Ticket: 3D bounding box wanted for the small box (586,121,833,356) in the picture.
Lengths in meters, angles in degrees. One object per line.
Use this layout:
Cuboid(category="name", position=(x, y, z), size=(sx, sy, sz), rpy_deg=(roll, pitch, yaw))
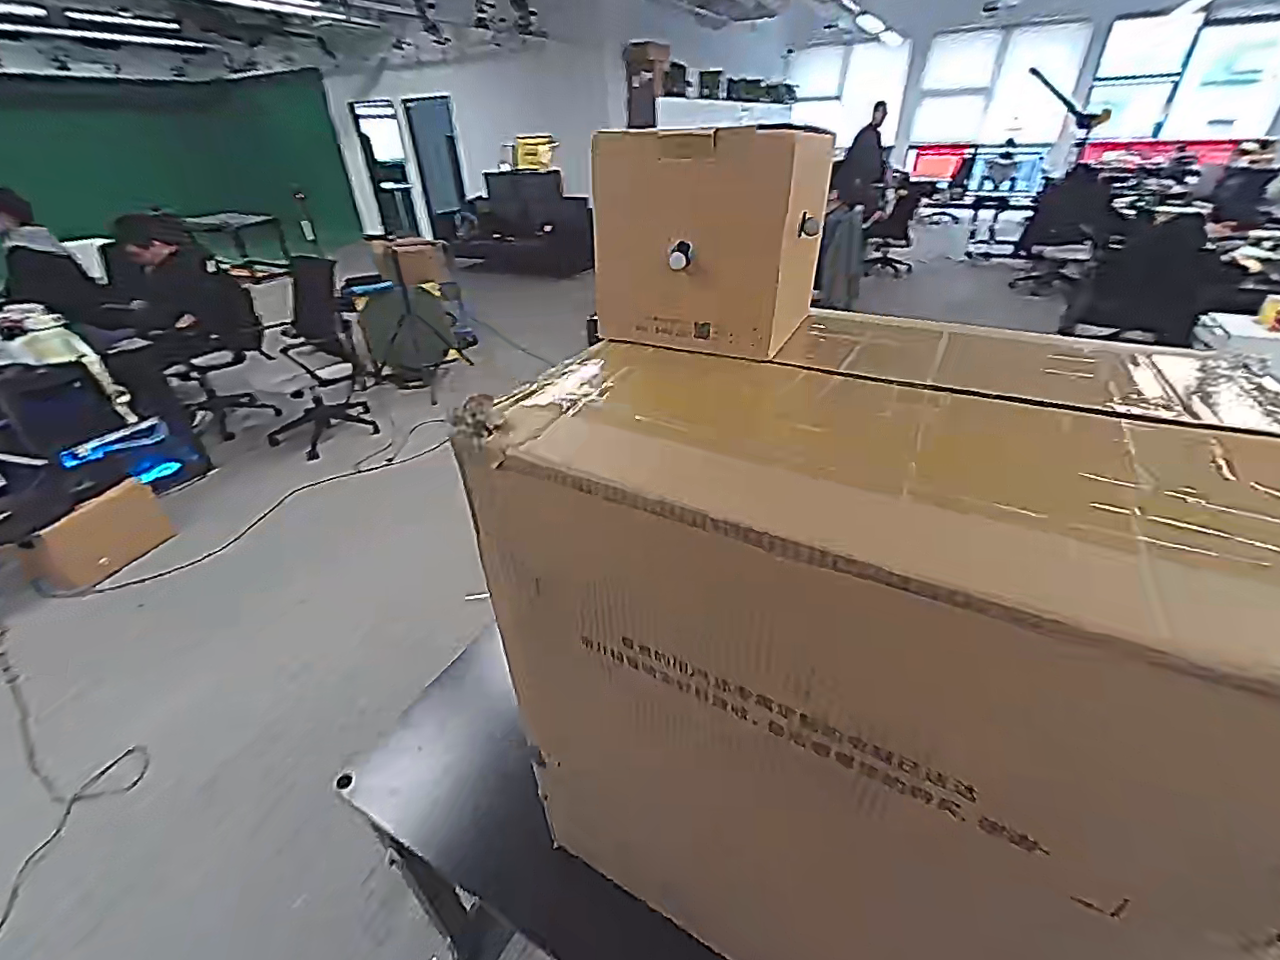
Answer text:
Cuboid(category="small box", position=(0.068, -0.224, 0.498), size=(0.168, 0.176, 0.179), rpy_deg=(13, 34, 21))
